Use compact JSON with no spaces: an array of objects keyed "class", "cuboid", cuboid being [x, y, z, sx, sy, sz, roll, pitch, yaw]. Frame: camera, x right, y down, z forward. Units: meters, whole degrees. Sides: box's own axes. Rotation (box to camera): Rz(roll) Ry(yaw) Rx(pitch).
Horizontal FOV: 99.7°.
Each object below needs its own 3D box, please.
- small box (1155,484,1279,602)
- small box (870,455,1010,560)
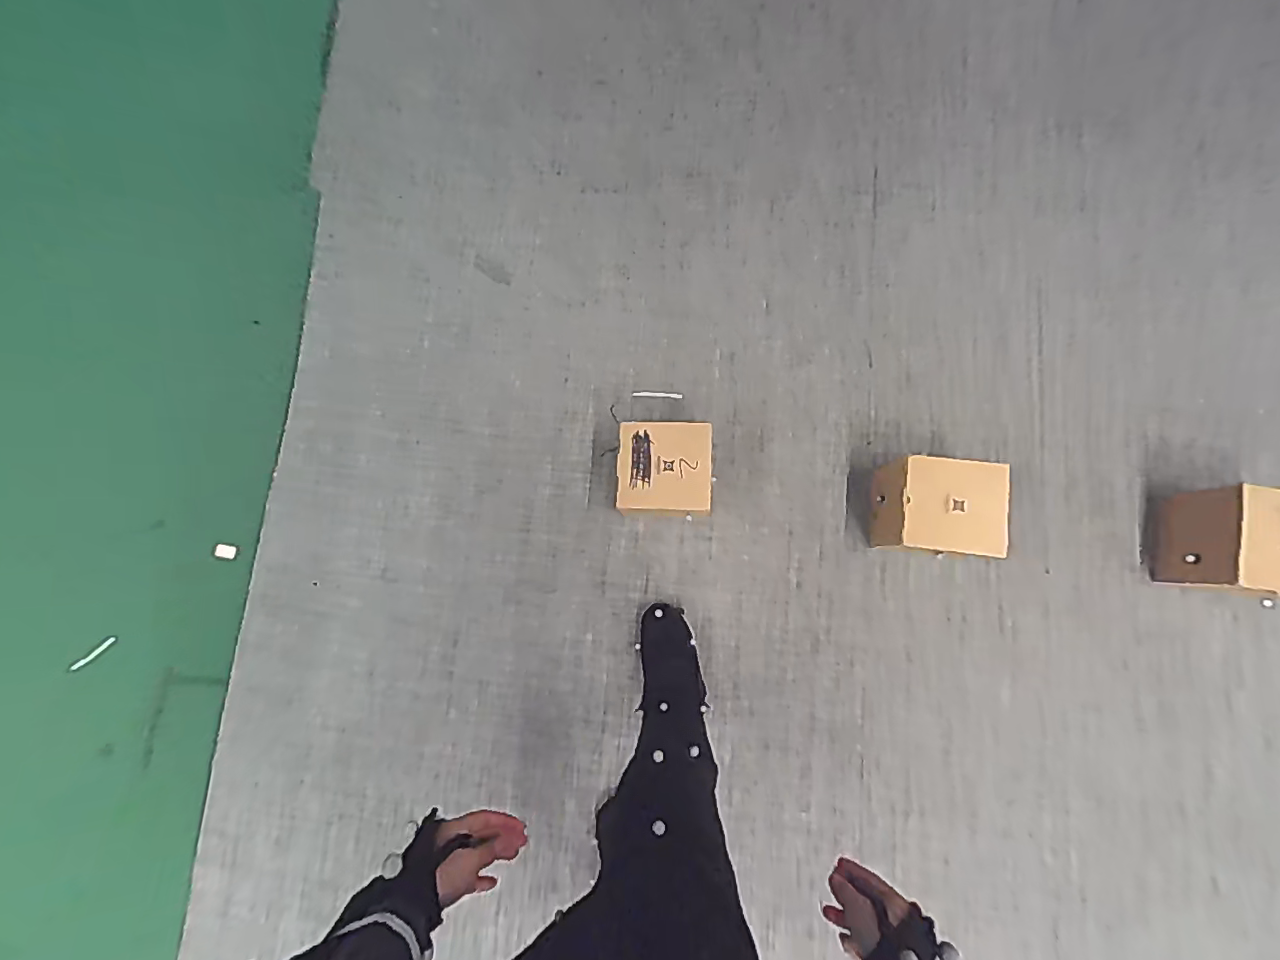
[{"class":"small box","cuboid":[1.072,0.117,0.959,0.168,0.176,0.179,10,81,5]},{"class":"small box","cuboid":[0.555,0.056,1.017,0.179,0.176,0.168,6,82,7]}]
